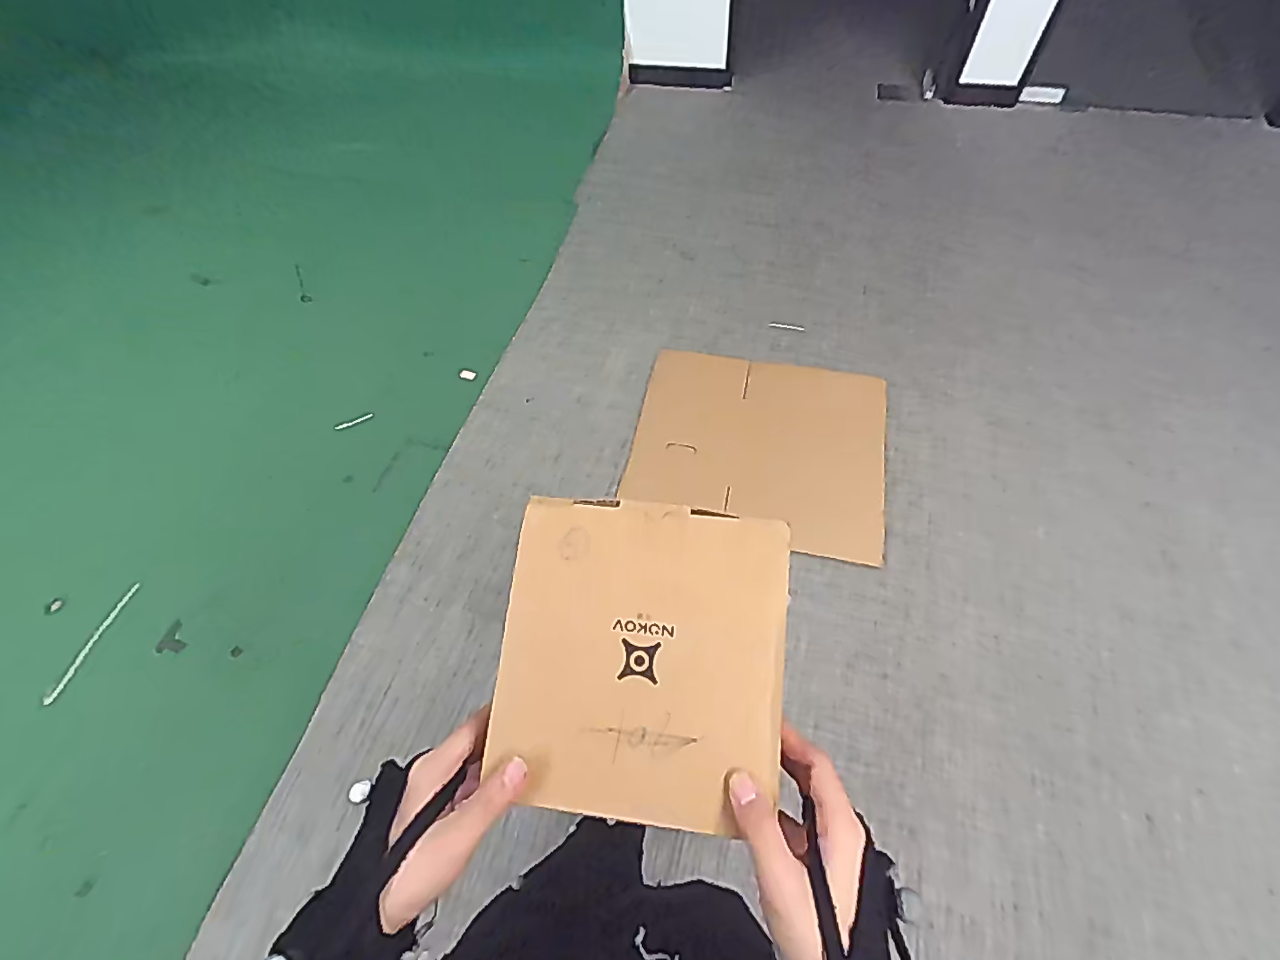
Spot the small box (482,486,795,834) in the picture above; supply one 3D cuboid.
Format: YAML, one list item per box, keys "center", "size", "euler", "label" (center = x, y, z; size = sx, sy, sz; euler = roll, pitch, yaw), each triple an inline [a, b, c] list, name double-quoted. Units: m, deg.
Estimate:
- center: [0.009, 0.114, 0.390]
  size: [0.168, 0.176, 0.179]
  euler: [6, 77, 7]
  label: "small box"
